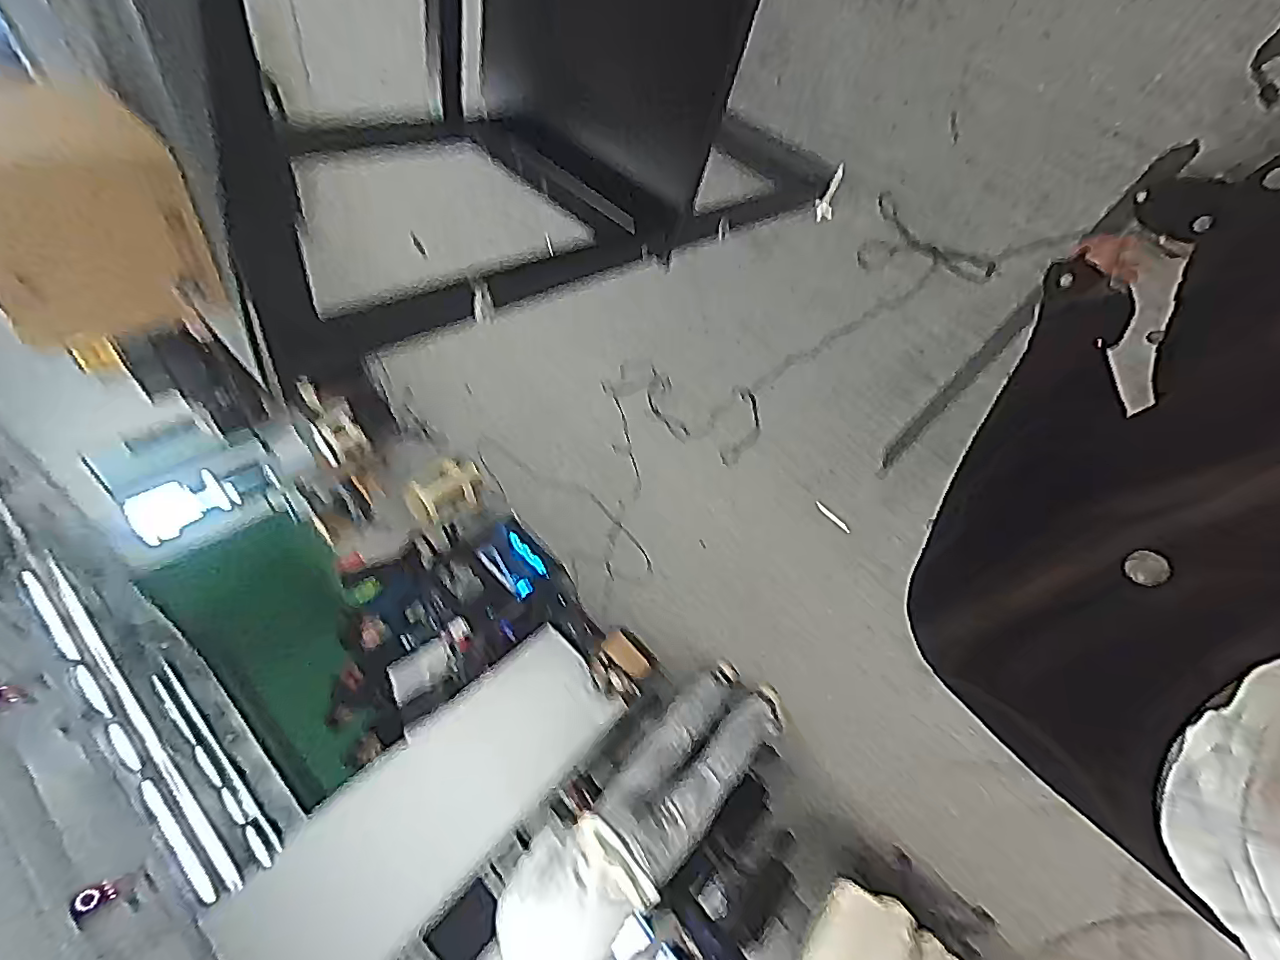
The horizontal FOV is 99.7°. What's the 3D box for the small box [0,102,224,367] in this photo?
[{"bbox_3d":[-0.547,-0.246,0.526,0.179,0.176,0.168,41,141,19],"label":"small box"}]
